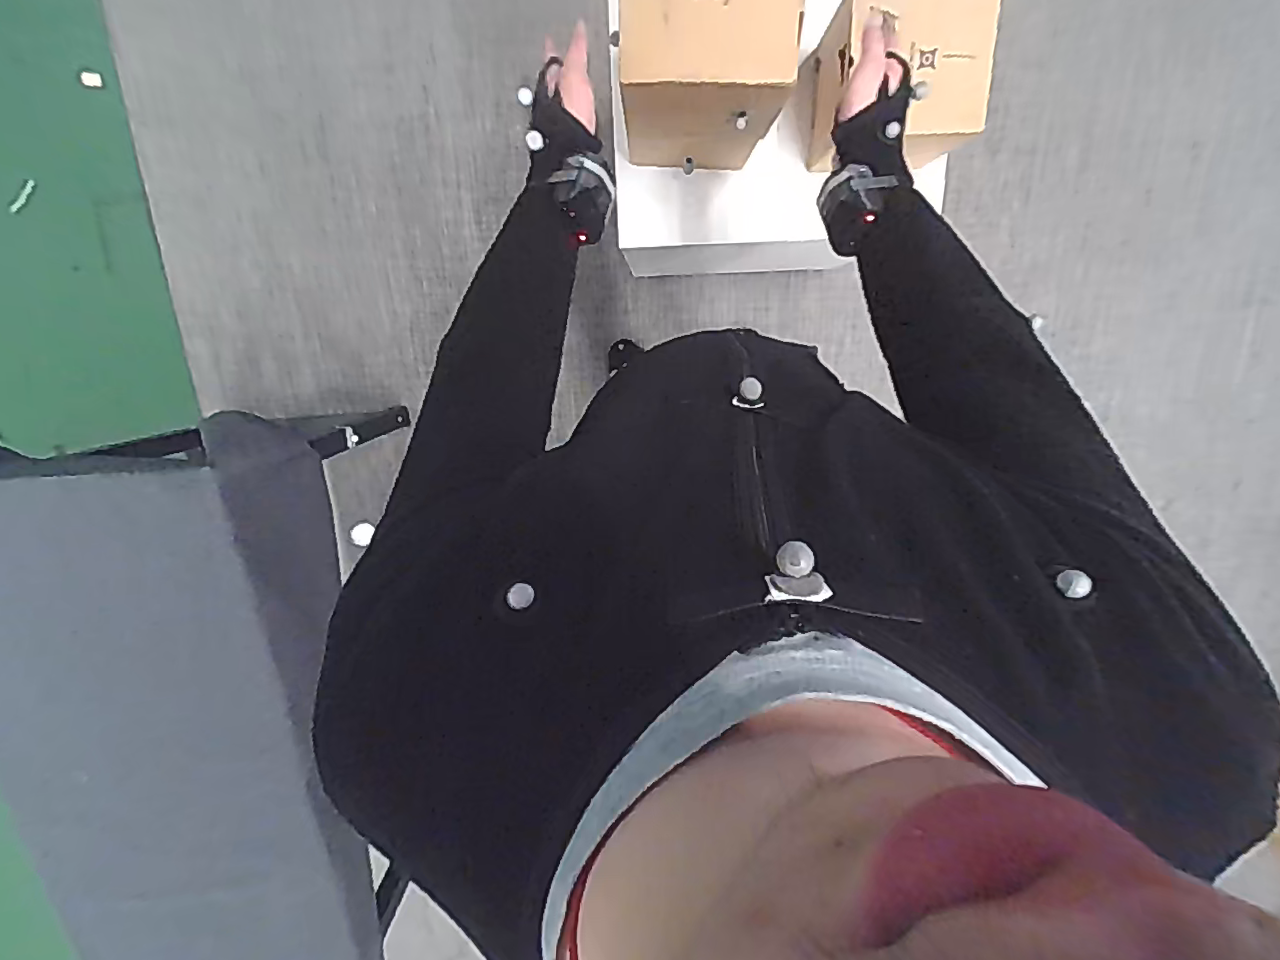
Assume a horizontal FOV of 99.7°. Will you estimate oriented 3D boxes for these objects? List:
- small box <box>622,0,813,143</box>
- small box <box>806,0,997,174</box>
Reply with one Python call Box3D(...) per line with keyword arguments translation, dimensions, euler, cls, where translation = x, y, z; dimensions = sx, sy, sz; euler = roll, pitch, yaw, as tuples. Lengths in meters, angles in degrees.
Box3D(translation=(0.071, -0.473, 0.565), dimensions=(0.179, 0.176, 0.168), euler=(-1, 104, 0), cls="small box")
Box3D(translation=(0.332, -0.524, 0.724), dimensions=(0.179, 0.176, 0.168), euler=(-2, 105, -1), cls="small box")
